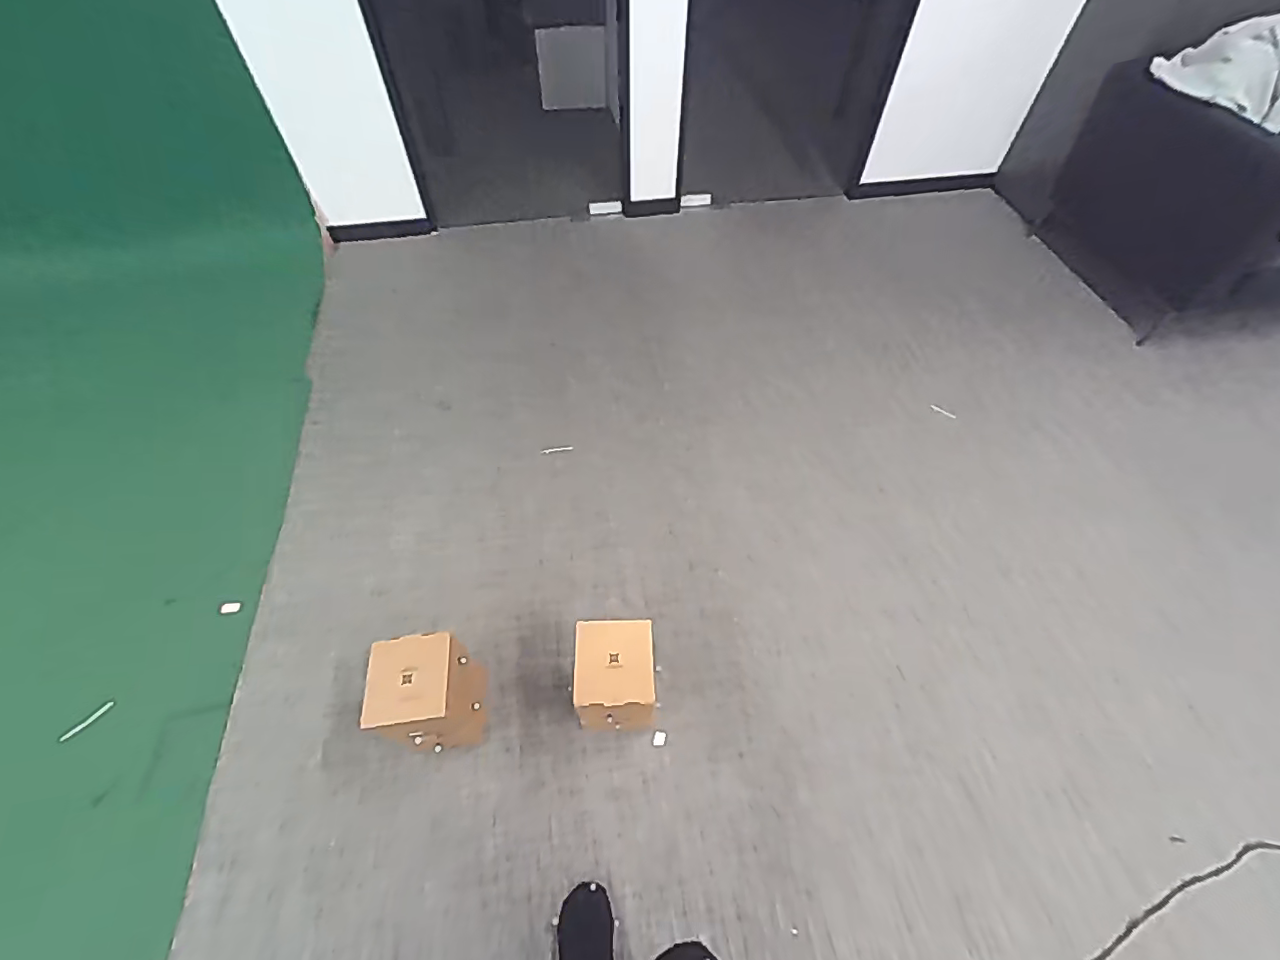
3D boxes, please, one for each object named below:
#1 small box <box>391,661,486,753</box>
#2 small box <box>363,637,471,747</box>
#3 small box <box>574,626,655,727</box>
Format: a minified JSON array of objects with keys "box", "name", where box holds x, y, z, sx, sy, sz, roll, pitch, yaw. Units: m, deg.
[{"box":[-0.478,0.555,1.310,0.168,0.176,0.179,-4,56,-3],"name":"small box"},{"box":[-0.473,0.463,1.176,0.168,0.176,0.179,-7,56,-4],"name":"small box"},{"box":[-0.056,0.438,1.200,0.168,0.176,0.179,-1,56,-1],"name":"small box"}]
